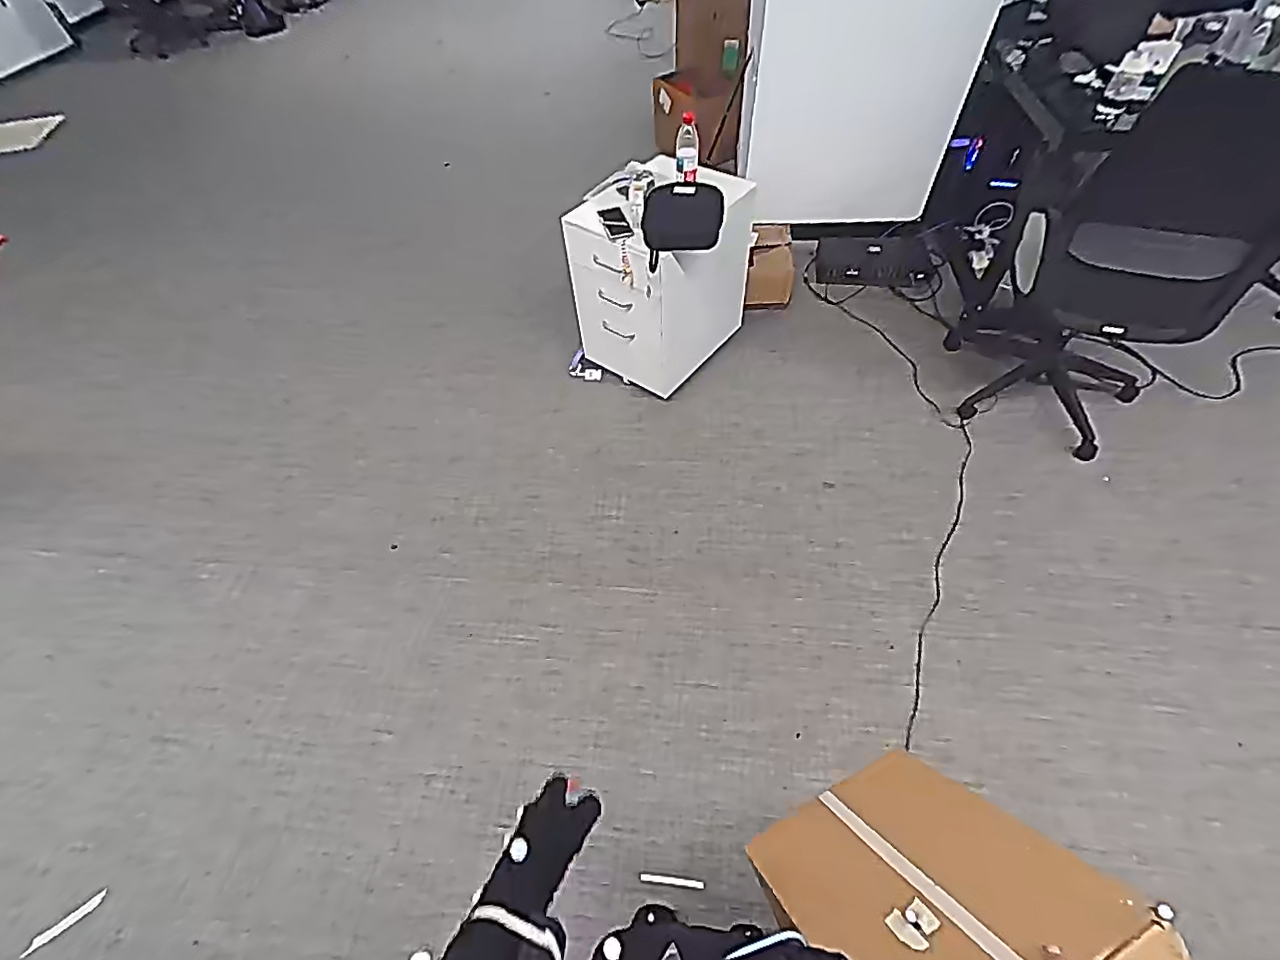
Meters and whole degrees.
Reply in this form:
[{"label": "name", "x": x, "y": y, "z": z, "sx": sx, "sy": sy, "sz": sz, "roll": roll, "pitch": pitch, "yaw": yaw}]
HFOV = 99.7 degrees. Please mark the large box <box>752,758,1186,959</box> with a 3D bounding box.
[{"label": "large box", "x": 0.409, "y": 0.651, "z": 0.696, "sx": 0.320, "sy": 0.408, "sz": 0.320, "roll": -25, "pitch": 92, "yaw": -12}]
